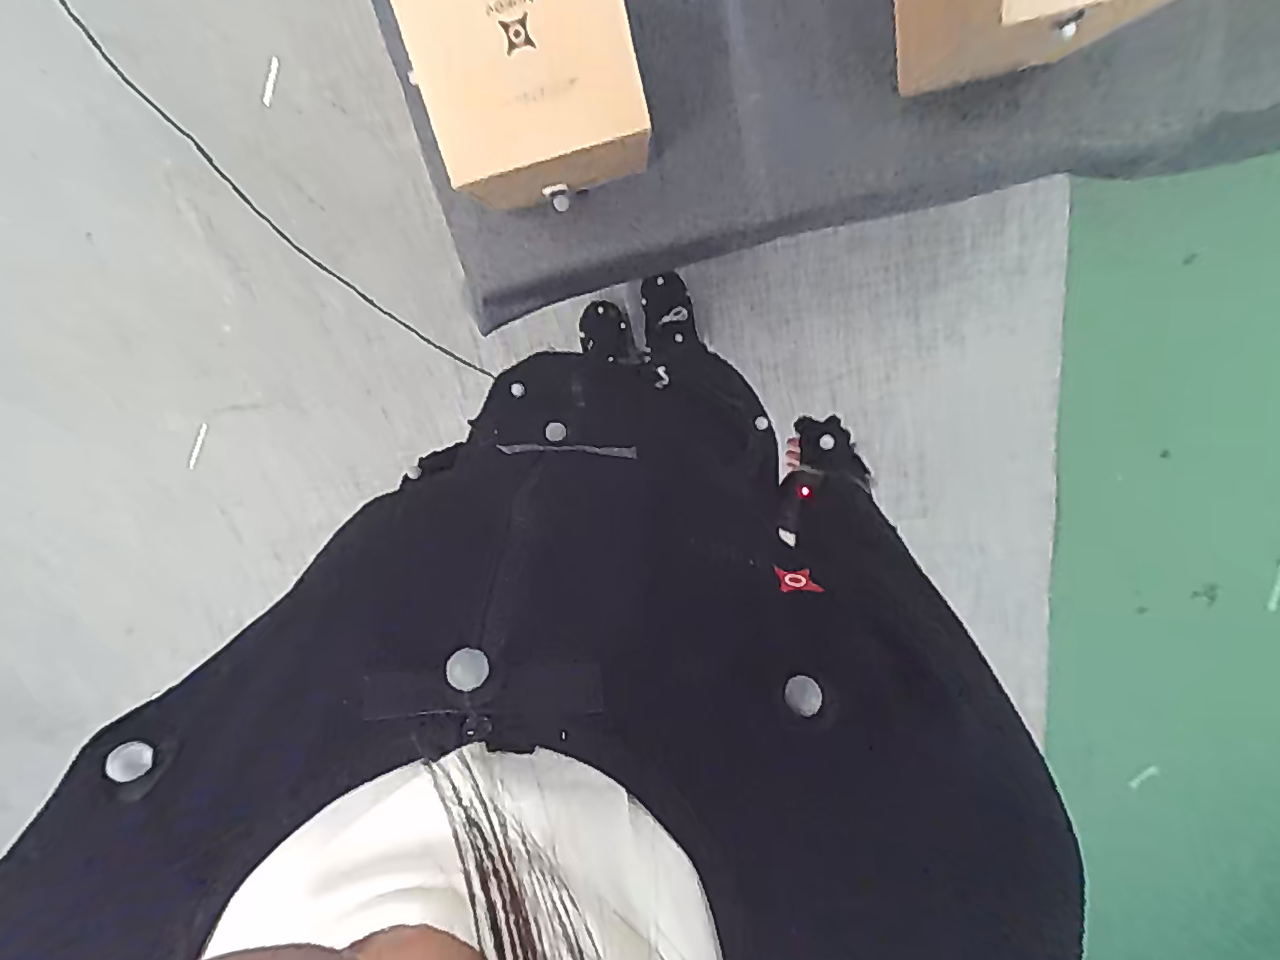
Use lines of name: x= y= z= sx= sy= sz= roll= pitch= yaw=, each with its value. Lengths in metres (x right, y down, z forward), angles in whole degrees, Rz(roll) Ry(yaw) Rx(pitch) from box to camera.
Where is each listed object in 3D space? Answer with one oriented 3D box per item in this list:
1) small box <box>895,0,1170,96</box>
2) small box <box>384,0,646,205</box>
small box: x=0.324 y=-0.456 z=0.441 sx=0.168 sy=0.176 sz=0.179 roll=-11 pitch=109 yaw=4
small box: x=-0.093 y=-0.352 z=0.451 sx=0.168 sy=0.176 sz=0.179 roll=-11 pitch=109 yaw=5
